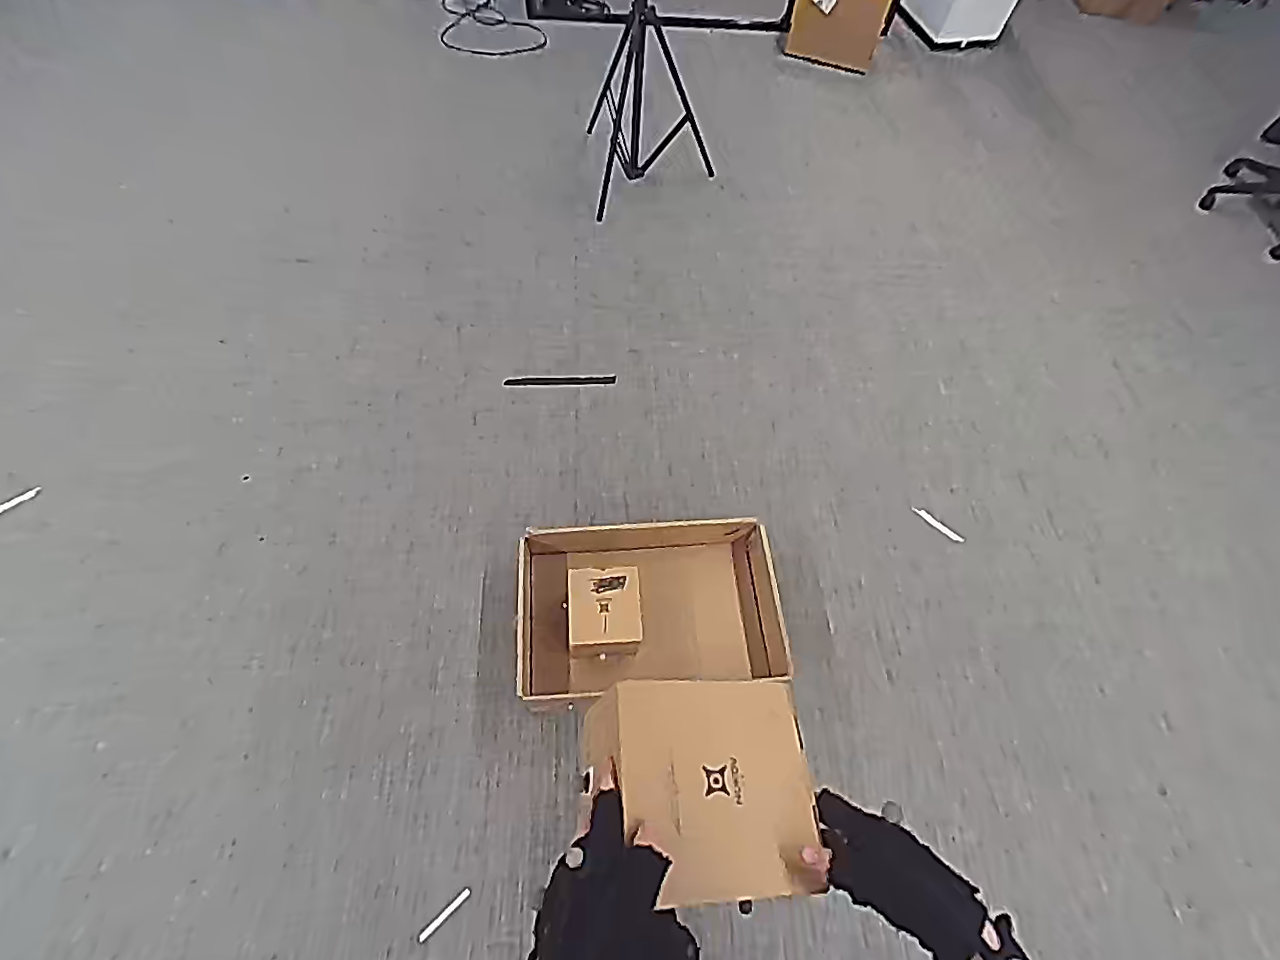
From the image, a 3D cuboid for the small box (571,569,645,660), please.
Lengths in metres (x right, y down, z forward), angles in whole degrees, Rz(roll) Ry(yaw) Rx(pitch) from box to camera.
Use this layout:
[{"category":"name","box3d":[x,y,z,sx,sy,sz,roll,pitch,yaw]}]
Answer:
[{"category":"small box","box3d":[-0.083,0.325,1.304,0.168,0.176,0.179,-2,63,-6]}]

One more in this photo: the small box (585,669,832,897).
[{"category":"small box","box3d":[0.048,0.291,0.525,0.179,0.176,0.168,6,54,-15]}]
